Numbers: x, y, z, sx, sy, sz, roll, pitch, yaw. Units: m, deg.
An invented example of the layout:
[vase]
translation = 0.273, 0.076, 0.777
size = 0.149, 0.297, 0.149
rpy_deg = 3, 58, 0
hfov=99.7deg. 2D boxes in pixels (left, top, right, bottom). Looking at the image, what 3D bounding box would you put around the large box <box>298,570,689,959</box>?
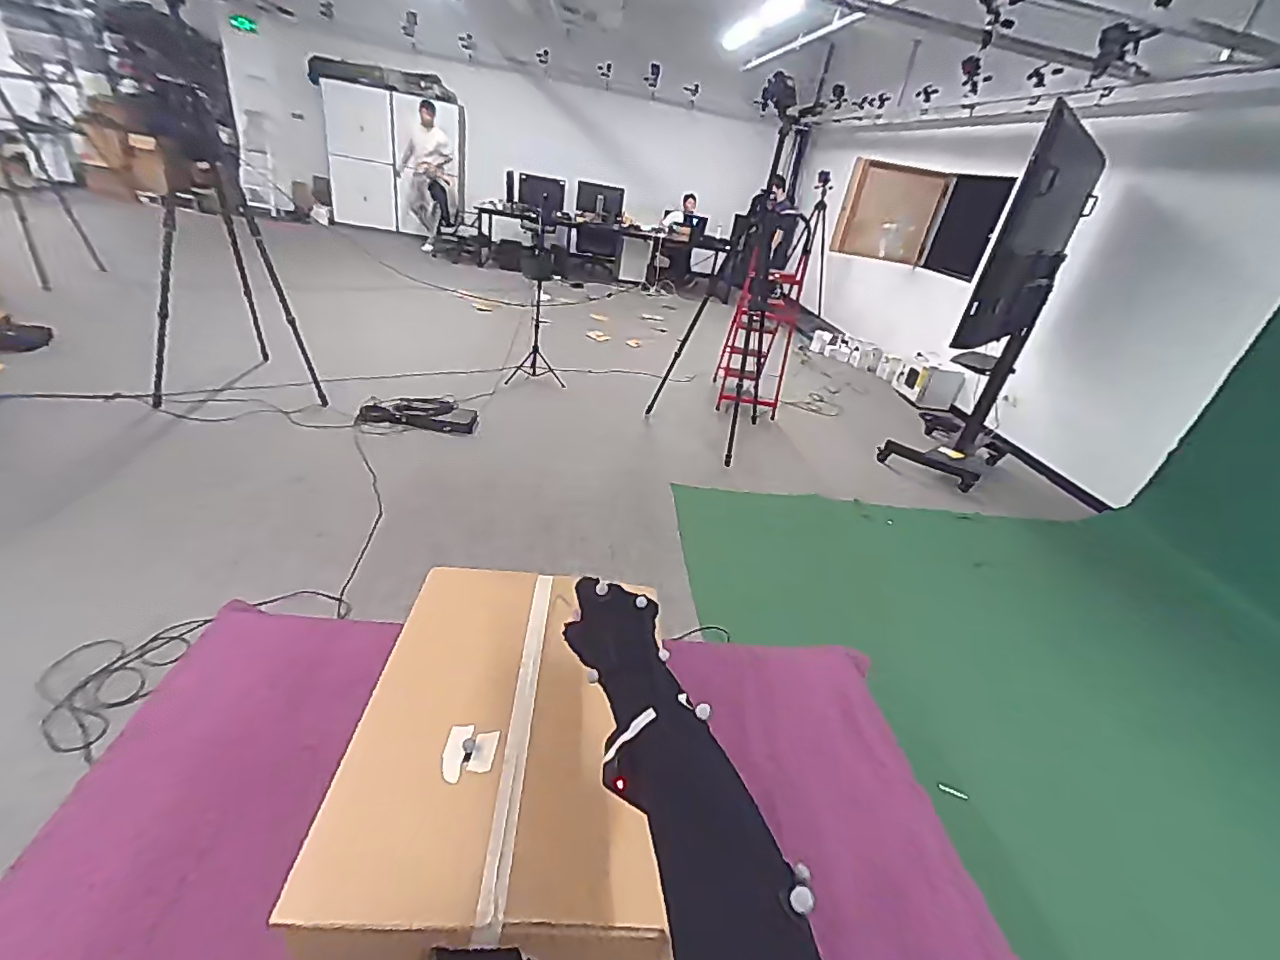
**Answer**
[large box]
translation = -0.146, 0.370, 0.666
size = 0.320, 0.320, 0.408
rpy_deg = 7, 30, -7
